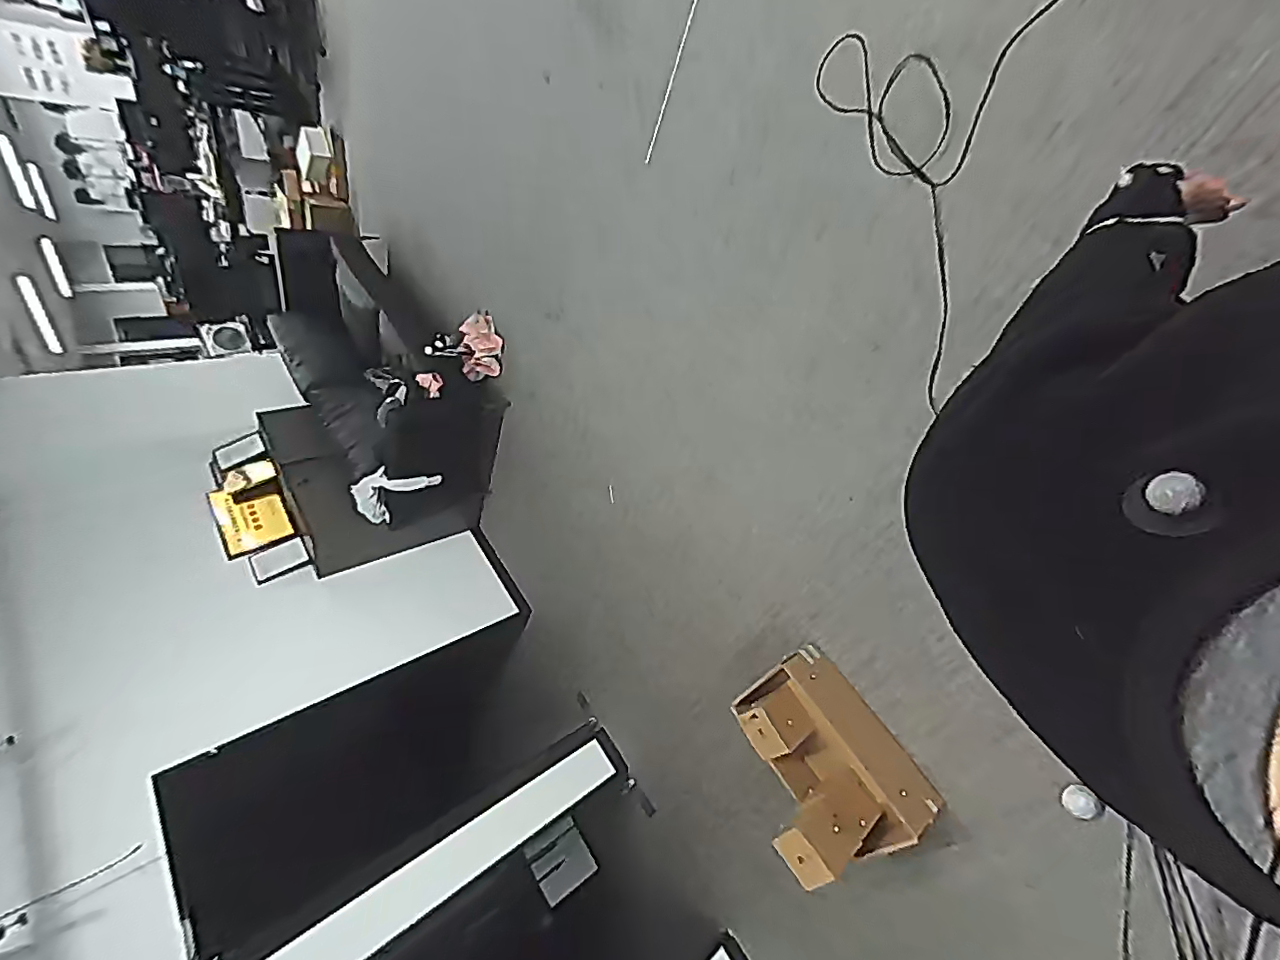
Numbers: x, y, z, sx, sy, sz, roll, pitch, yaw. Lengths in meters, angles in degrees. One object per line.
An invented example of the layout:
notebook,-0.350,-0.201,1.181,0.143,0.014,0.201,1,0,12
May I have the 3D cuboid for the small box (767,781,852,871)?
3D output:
small box,0.561,1.135,1.777,0.168,0.176,0.179,49,136,25
